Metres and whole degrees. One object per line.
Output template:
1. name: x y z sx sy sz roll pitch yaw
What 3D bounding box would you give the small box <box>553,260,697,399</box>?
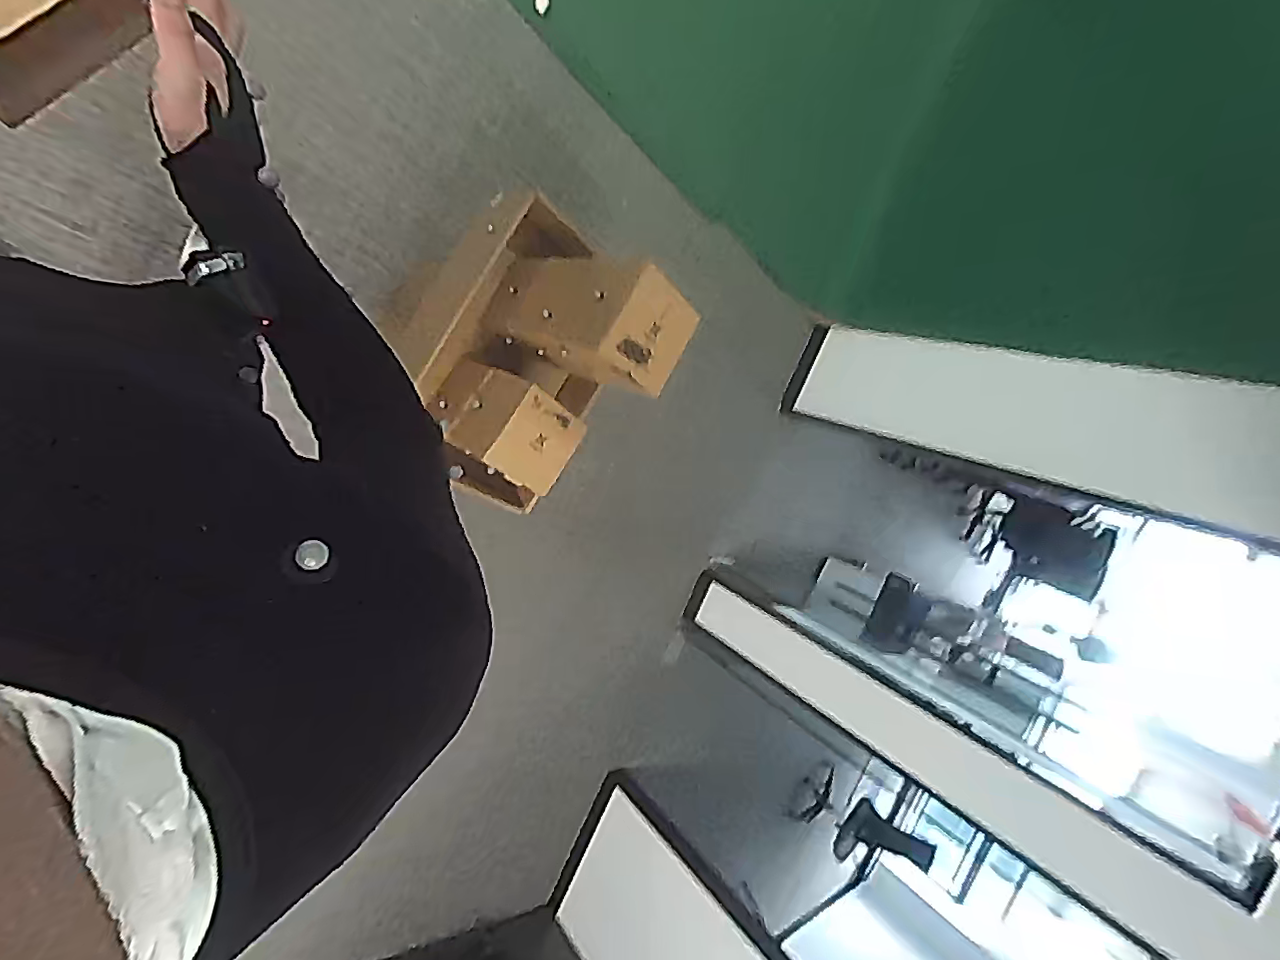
1. small box: -0.035 -0.279 0.993 0.168 0.176 0.179 32 88 -45

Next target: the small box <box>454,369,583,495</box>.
1. small box: -0.257 -0.102 1.113 0.179 0.176 0.168 -55 134 -4

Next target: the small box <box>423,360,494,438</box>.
1. small box: -0.358 -0.155 1.230 0.168 0.176 0.179 -55 134 -5
